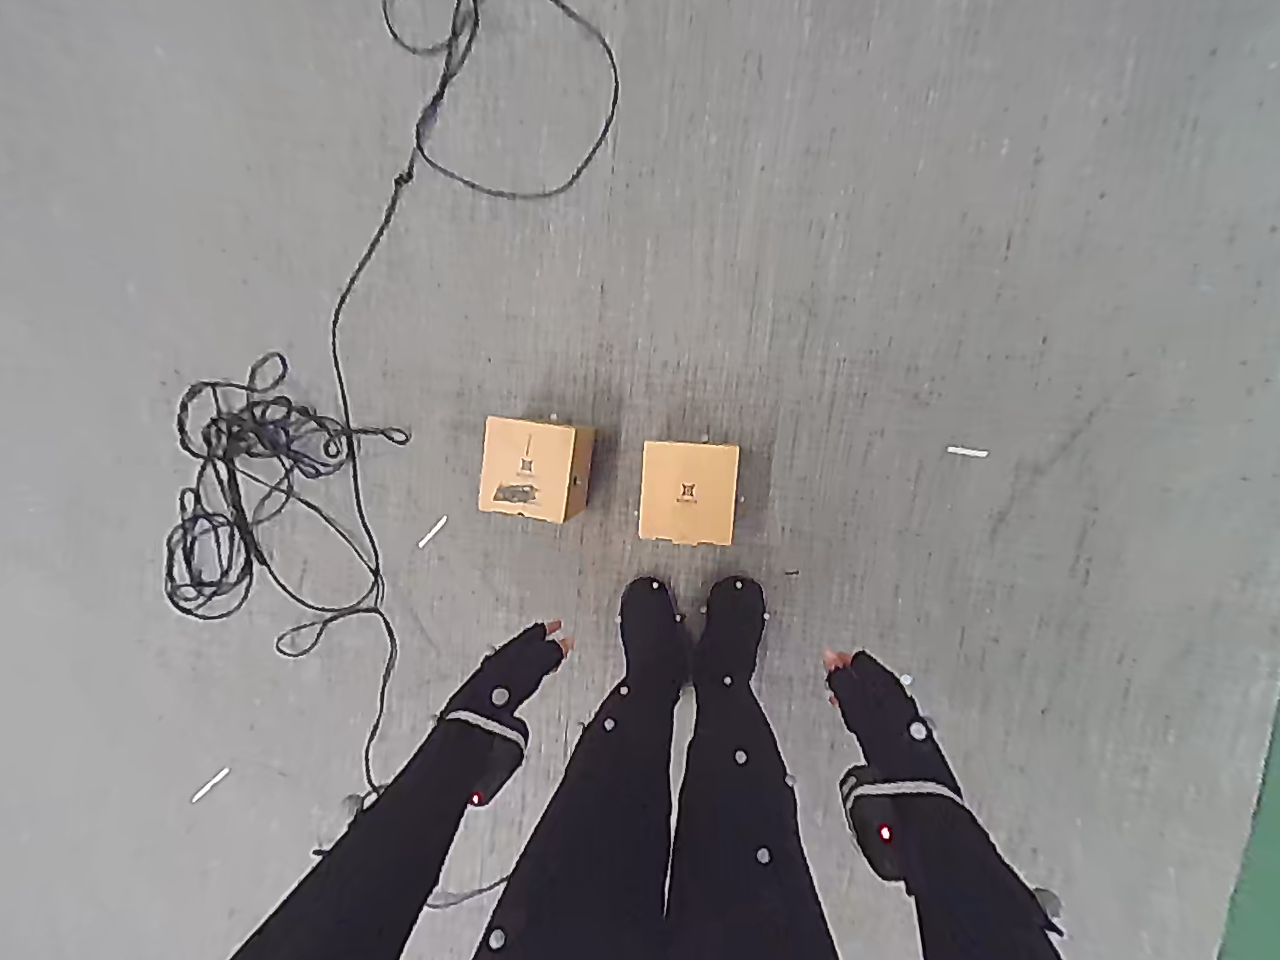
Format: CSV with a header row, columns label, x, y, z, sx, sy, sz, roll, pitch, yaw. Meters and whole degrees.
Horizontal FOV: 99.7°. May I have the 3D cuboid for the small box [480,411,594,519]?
label,x,y,z,sx,sy,sz,roll,pitch,yaw
small box,-0.193,-0.035,1.054,0.168,0.176,0.179,9,97,6

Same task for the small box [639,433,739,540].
label,x,y,z,sx,sy,sz,roll,pitch,yaw
small box,0.093,0.004,1.022,0.168,0.176,0.179,4,98,7
